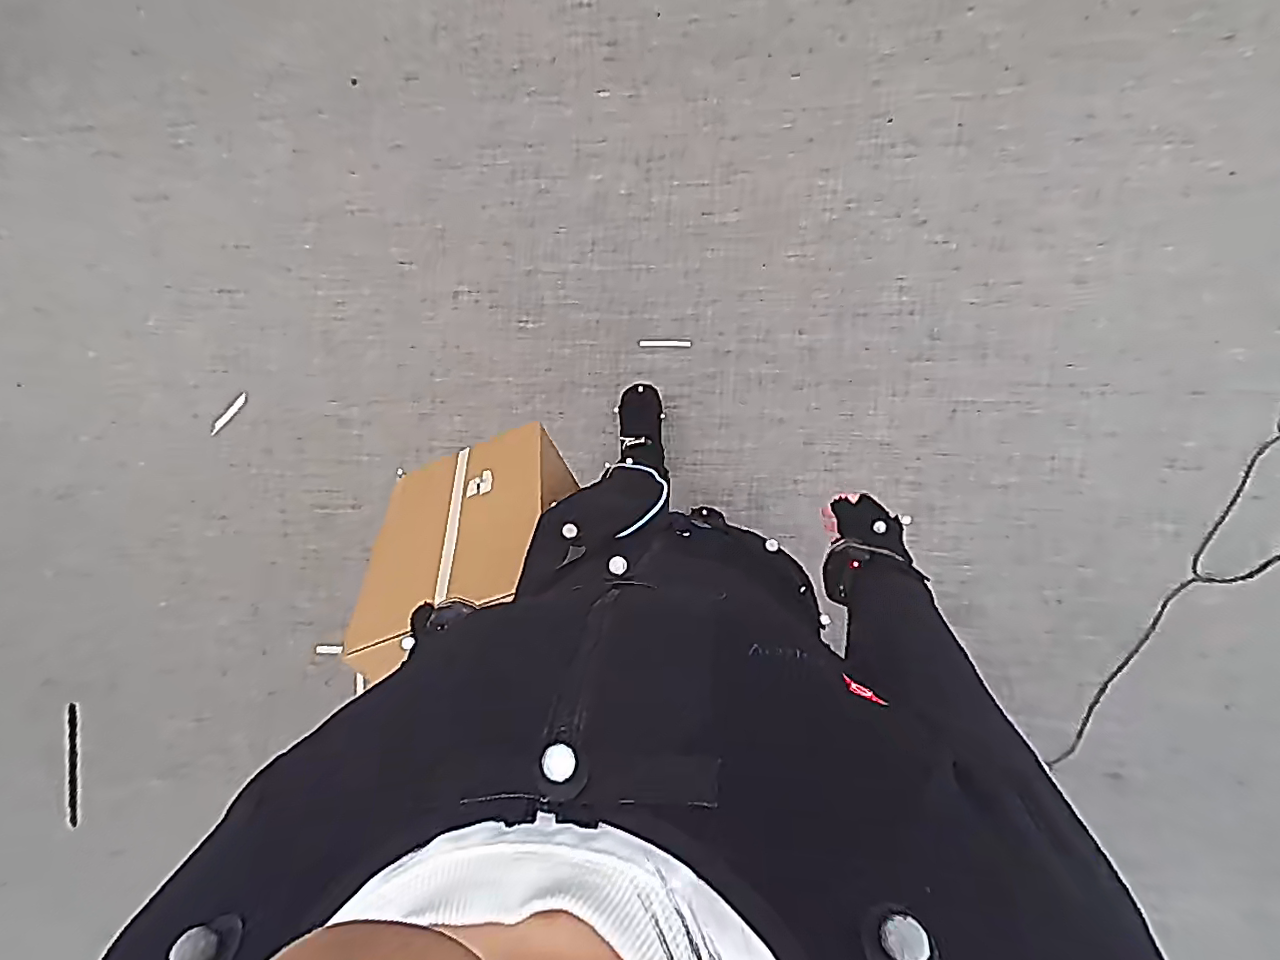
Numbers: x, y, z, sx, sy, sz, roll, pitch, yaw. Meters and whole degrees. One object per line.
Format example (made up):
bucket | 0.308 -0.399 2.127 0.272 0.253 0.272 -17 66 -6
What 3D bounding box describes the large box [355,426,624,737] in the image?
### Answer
large box | -0.244 0.175 0.990 0.320 0.408 0.320 -20 129 6
